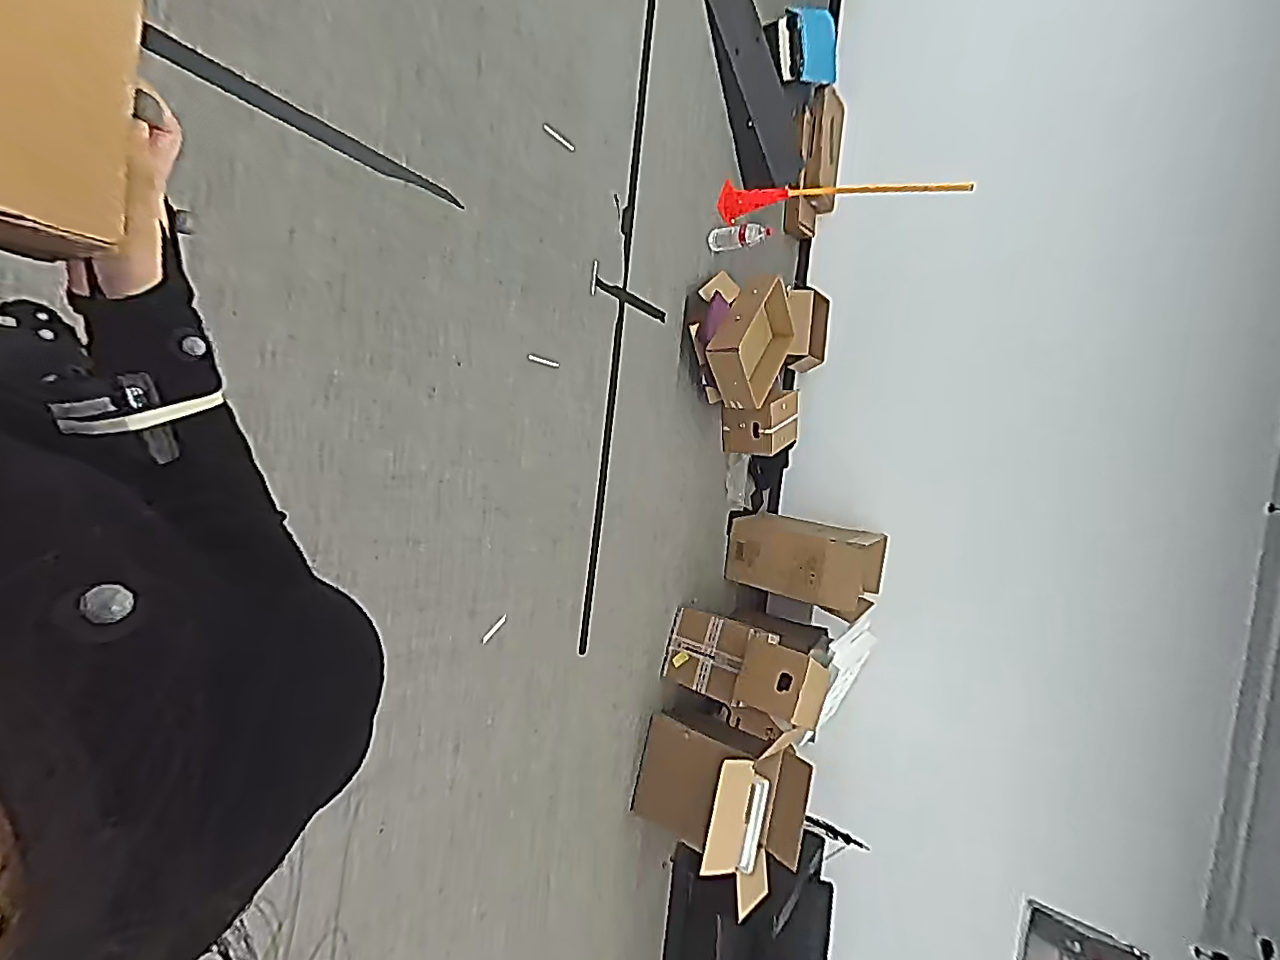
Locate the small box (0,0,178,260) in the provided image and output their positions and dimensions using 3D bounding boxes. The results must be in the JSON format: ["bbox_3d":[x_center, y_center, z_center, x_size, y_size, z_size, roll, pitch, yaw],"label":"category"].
[{"bbox_3d":[-0.336,-0.212,0.235,0.168,0.176,0.179,3,99,-56],"label":"small box"}]
